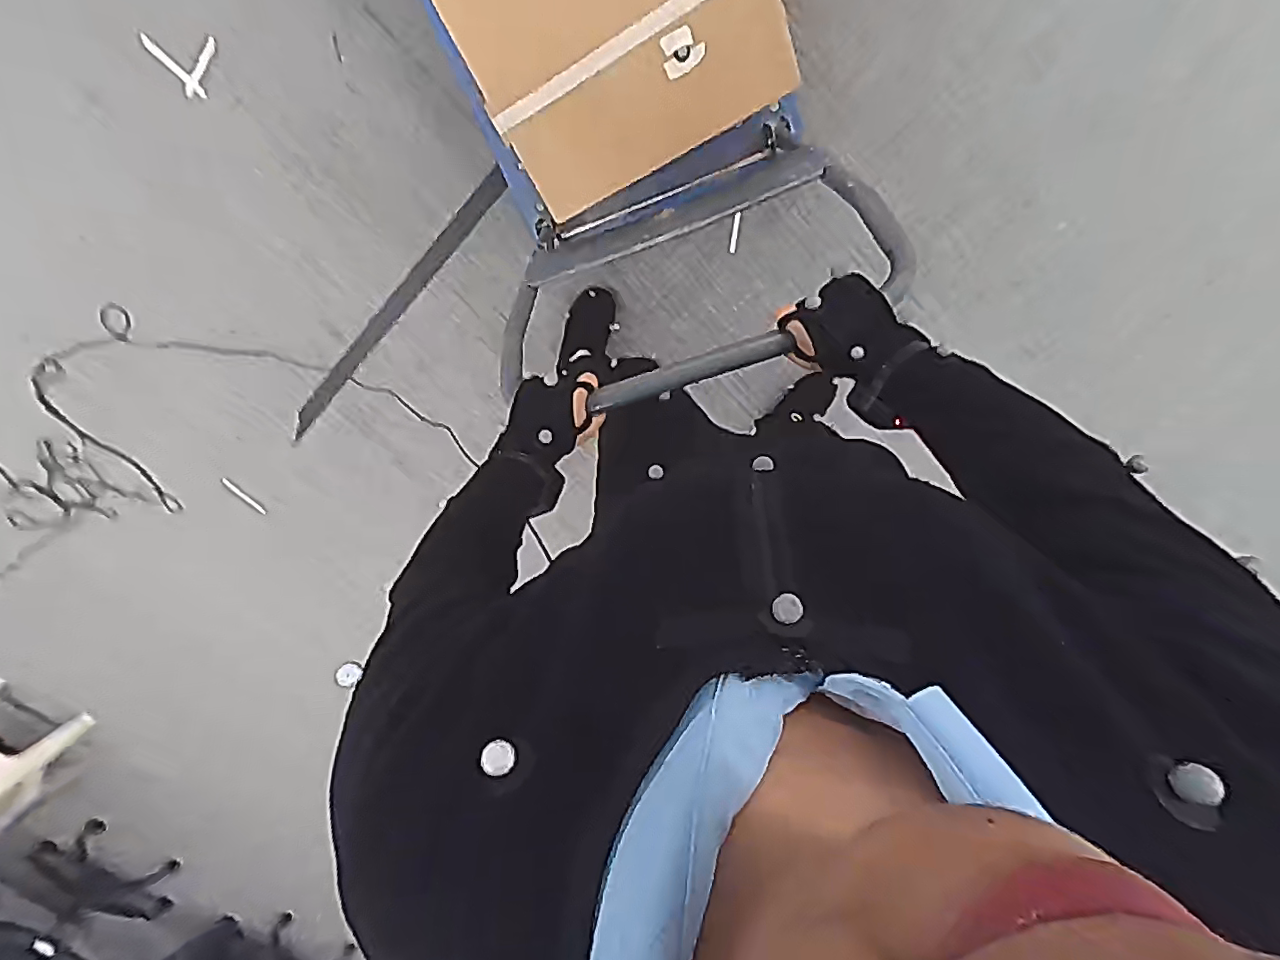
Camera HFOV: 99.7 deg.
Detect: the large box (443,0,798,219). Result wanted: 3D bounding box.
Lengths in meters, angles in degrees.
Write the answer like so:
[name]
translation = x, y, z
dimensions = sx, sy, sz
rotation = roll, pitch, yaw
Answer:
[large box]
translation = -0.022, -0.689, 0.854
dimensions = 0.408, 0.320, 0.320
rotation = -23, 125, 16
